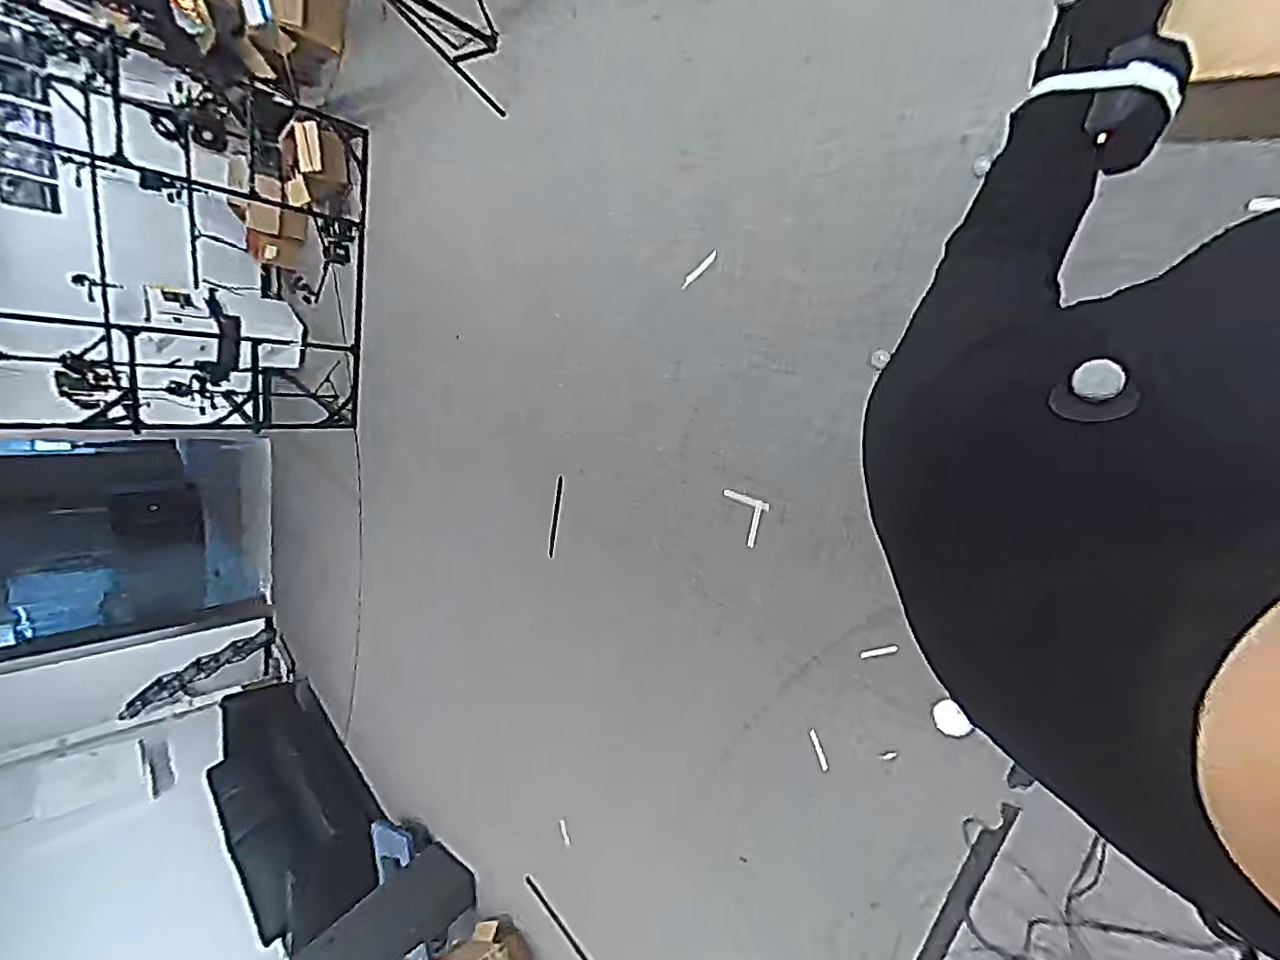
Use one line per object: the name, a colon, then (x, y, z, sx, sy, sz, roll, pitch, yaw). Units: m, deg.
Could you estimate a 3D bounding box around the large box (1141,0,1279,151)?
large box: (0.629, -0.419, 0.340, 0.408, 0.320, 0.320, 21, 121, 36)
